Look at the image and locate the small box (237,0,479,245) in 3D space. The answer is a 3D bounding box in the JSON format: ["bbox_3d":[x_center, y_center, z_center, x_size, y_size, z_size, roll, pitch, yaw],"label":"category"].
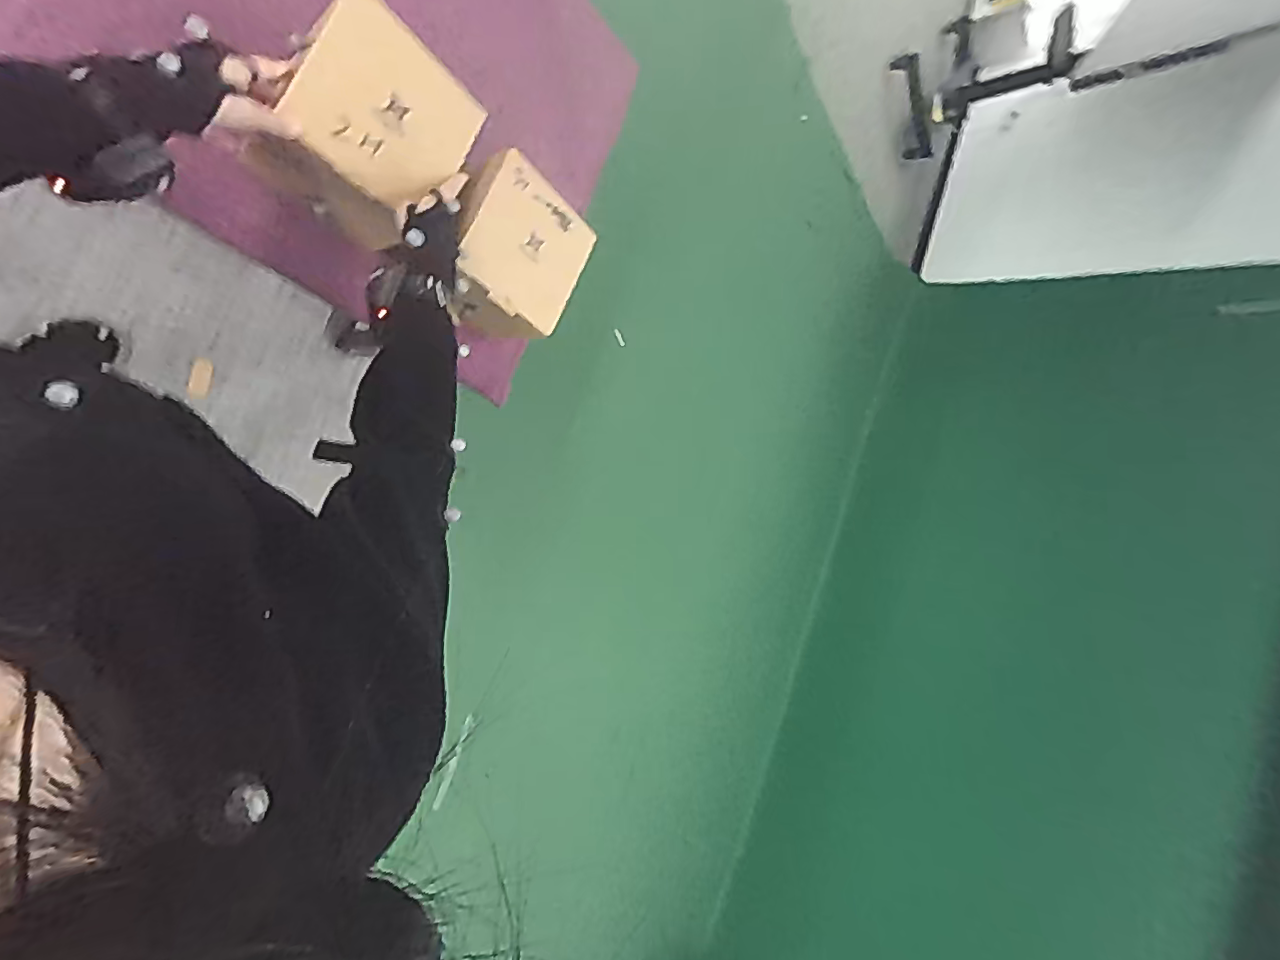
[{"bbox_3d":[-0.327,-0.402,0.625,0.168,0.176,0.179,32,78,-46],"label":"small box"}]
